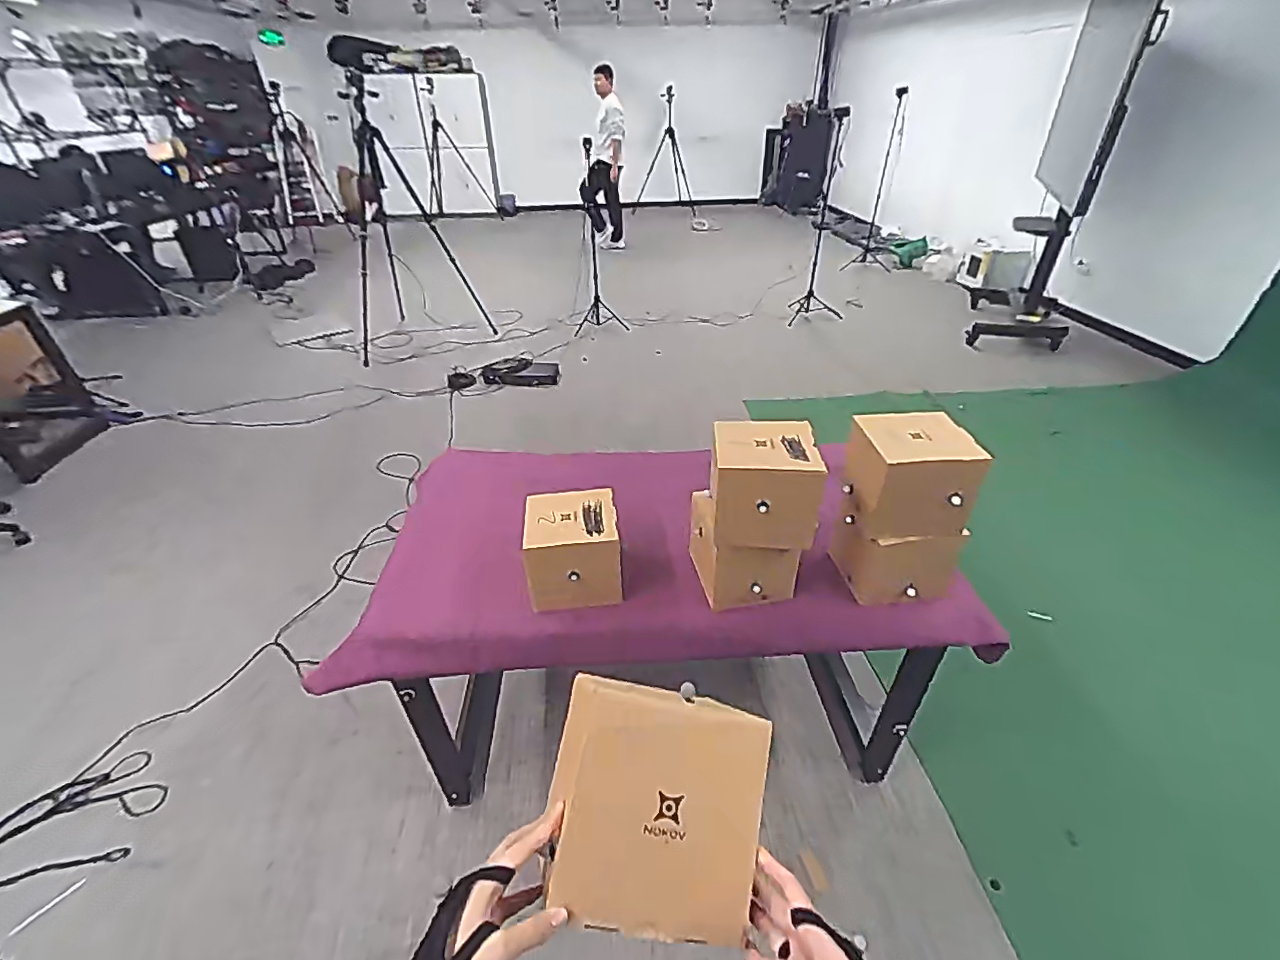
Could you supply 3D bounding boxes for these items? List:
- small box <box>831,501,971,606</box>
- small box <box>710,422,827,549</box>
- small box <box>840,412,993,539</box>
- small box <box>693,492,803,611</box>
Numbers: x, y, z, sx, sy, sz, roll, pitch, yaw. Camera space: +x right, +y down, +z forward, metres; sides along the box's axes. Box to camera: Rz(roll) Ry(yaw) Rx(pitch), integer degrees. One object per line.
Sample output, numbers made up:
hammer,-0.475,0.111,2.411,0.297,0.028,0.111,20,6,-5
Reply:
small box,0.503,0.129,1.071,0.179,0.176,0.168,-6,35,-5
small box,0.219,0.010,0.968,0.179,0.176,0.168,1,34,5
small box,0.487,-0.008,0.983,0.179,0.176,0.168,-3,35,0
small box,0.205,0.133,1.080,0.168,0.176,0.179,-7,35,-7
